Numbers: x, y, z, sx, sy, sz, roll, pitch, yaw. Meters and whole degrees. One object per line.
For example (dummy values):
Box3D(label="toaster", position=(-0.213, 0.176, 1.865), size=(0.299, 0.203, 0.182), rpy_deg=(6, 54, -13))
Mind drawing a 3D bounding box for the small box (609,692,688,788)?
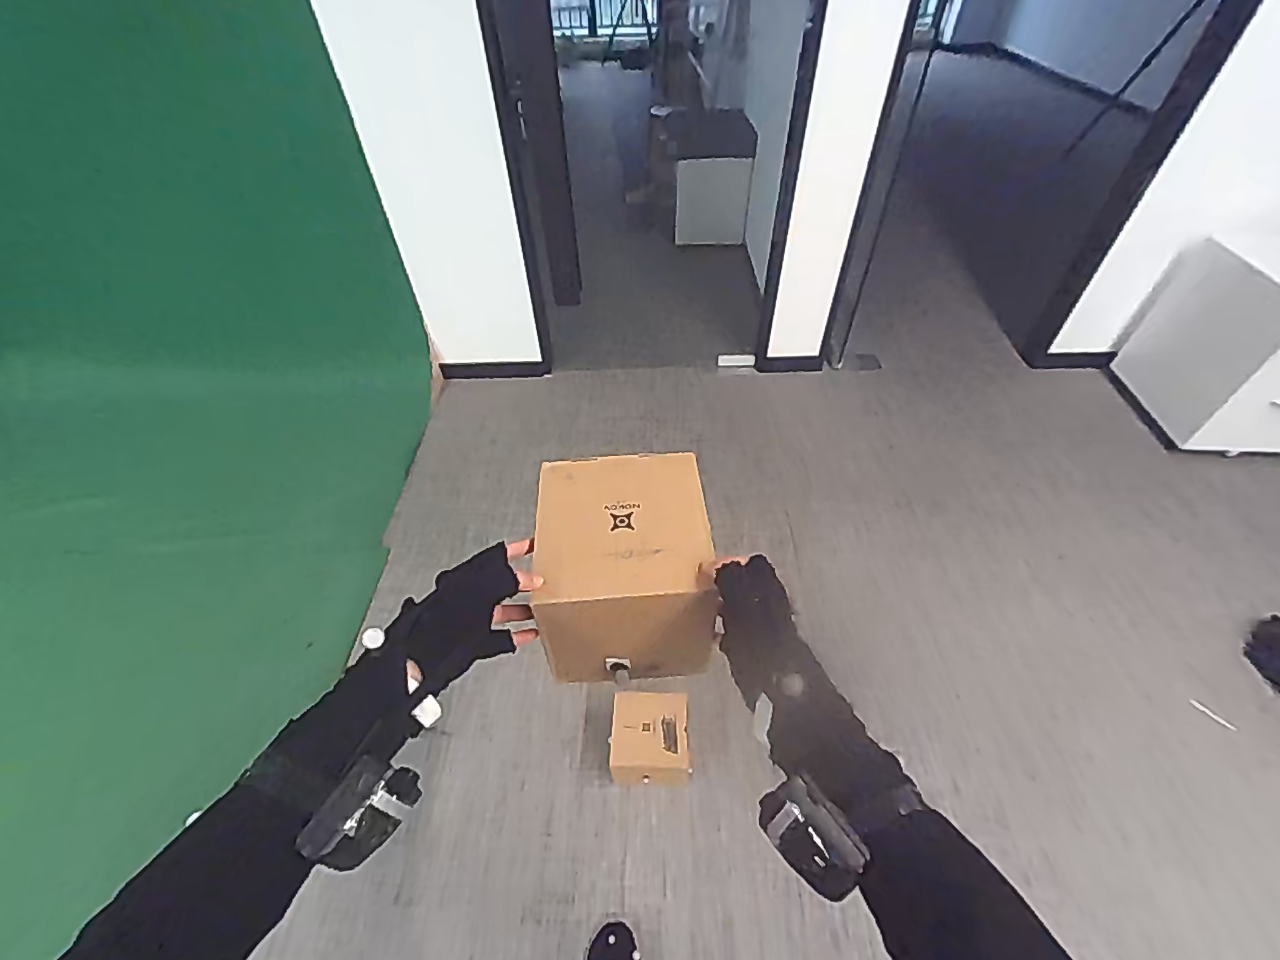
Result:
Box3D(label="small box", position=(0.024, 0.626, 1.299), size=(0.179, 0.176, 0.168), rpy_deg=(1, 46, 3))

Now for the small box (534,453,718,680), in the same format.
Box3D(label="small box", position=(-0.016, 0.094, 0.588), size=(0.168, 0.176, 0.179), rpy_deg=(-5, 46, -2))
